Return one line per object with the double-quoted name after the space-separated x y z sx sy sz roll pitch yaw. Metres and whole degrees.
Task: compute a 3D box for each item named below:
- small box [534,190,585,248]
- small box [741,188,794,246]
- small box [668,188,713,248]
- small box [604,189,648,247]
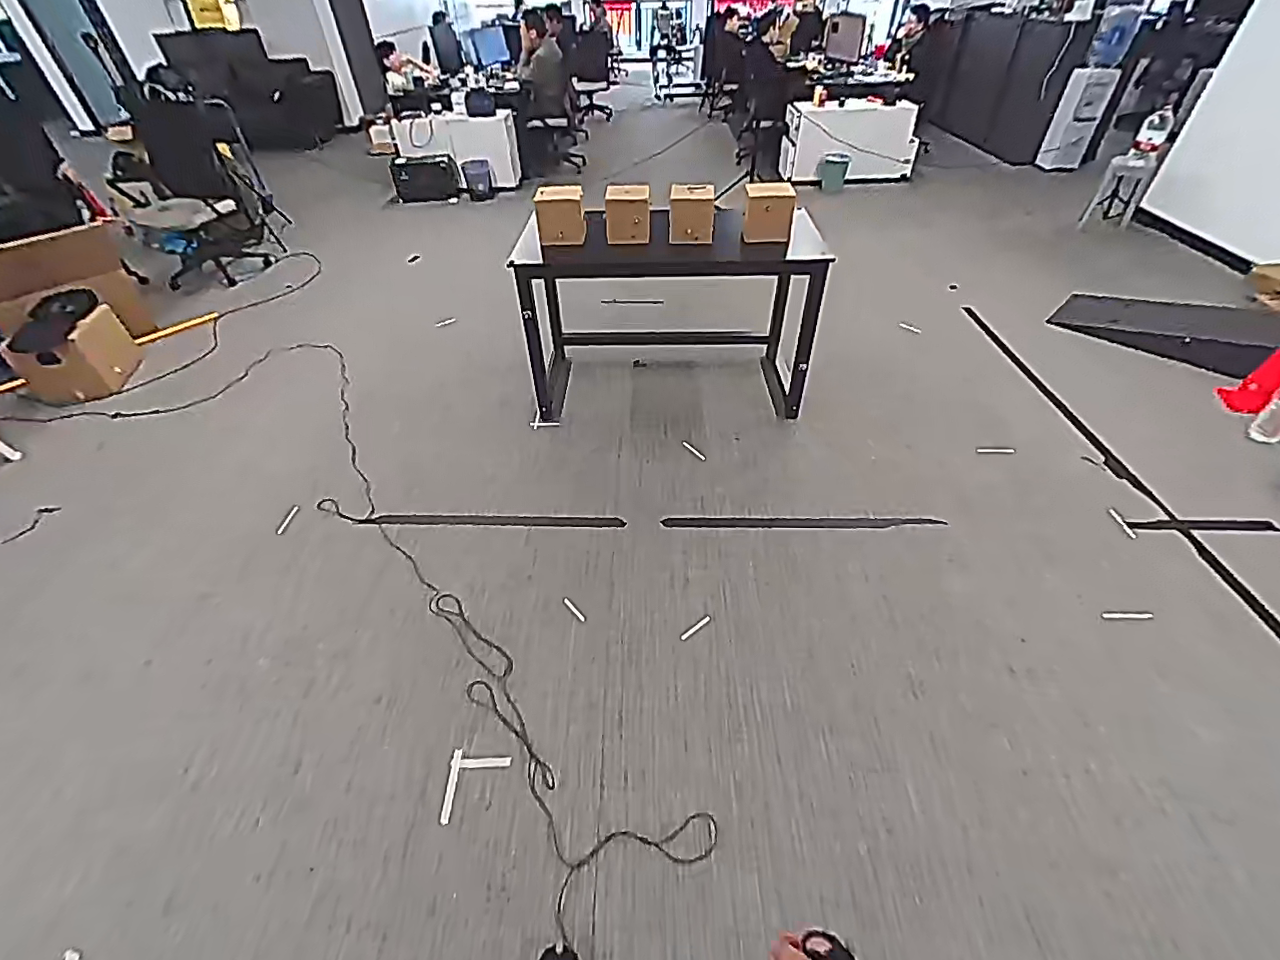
-0.313 -1.030 2.137 0.179 0.176 0.168 -1 43 -1 "small box"
0.490 -1.027 2.111 0.179 0.176 0.168 1 43 3 "small box"
0.198 -1.028 2.121 0.168 0.176 0.179 3 44 4 "small box"
-0.050 -1.036 2.139 0.168 0.176 0.179 0 42 0 "small box"
